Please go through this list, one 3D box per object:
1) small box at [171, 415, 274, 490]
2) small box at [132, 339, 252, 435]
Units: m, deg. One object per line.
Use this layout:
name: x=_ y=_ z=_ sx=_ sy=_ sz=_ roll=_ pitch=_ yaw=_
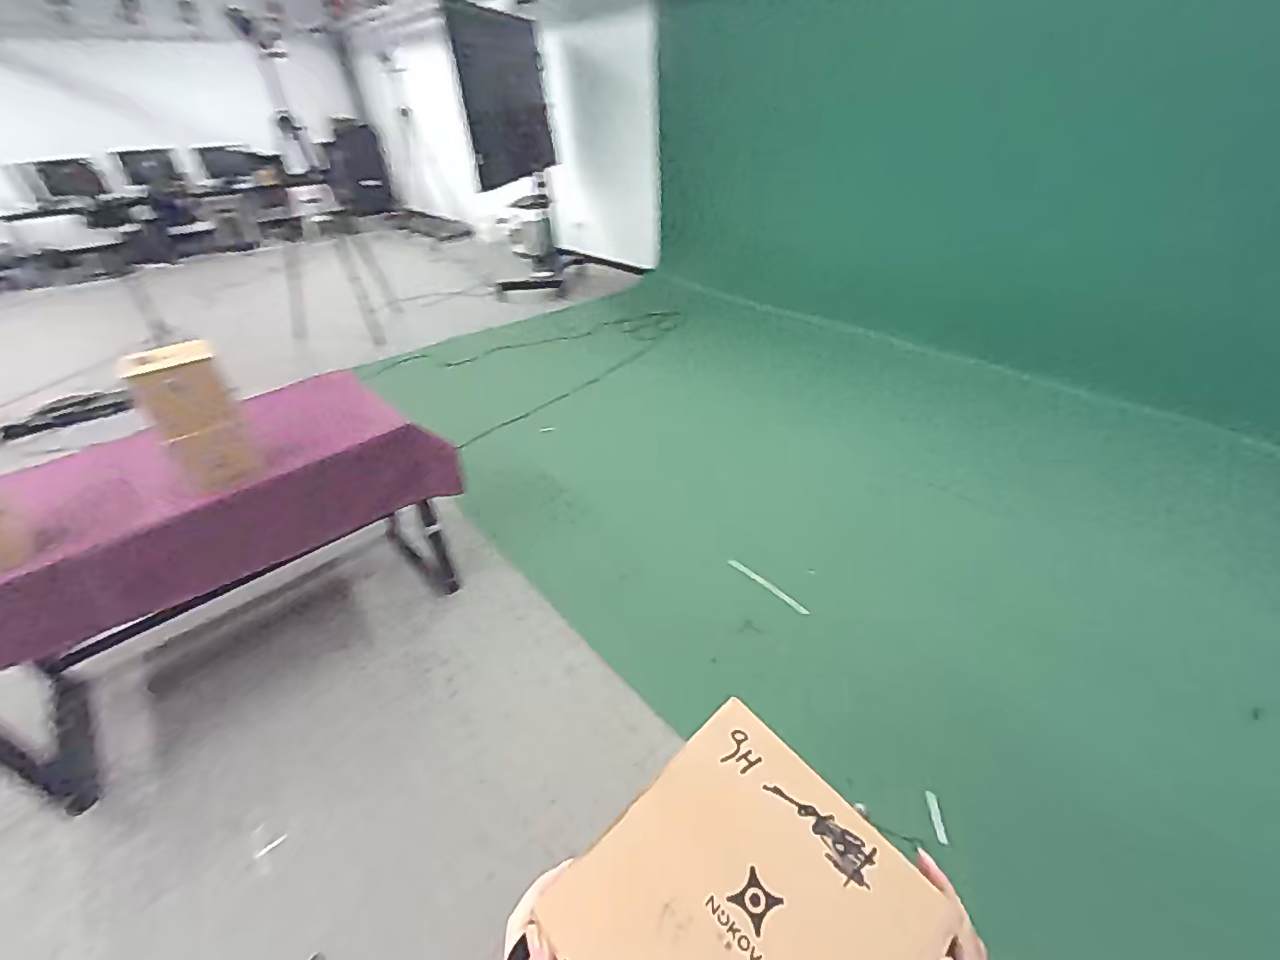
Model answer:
small box: x=-1.110 y=-0.093 z=1.438 sx=0.168 sy=0.176 sz=0.179 roll=-27 pitch=42 yaw=-30
small box: x=-1.113 y=-0.232 z=1.349 sx=0.179 sy=0.176 sz=0.168 roll=-27 pitch=42 yaw=-30
